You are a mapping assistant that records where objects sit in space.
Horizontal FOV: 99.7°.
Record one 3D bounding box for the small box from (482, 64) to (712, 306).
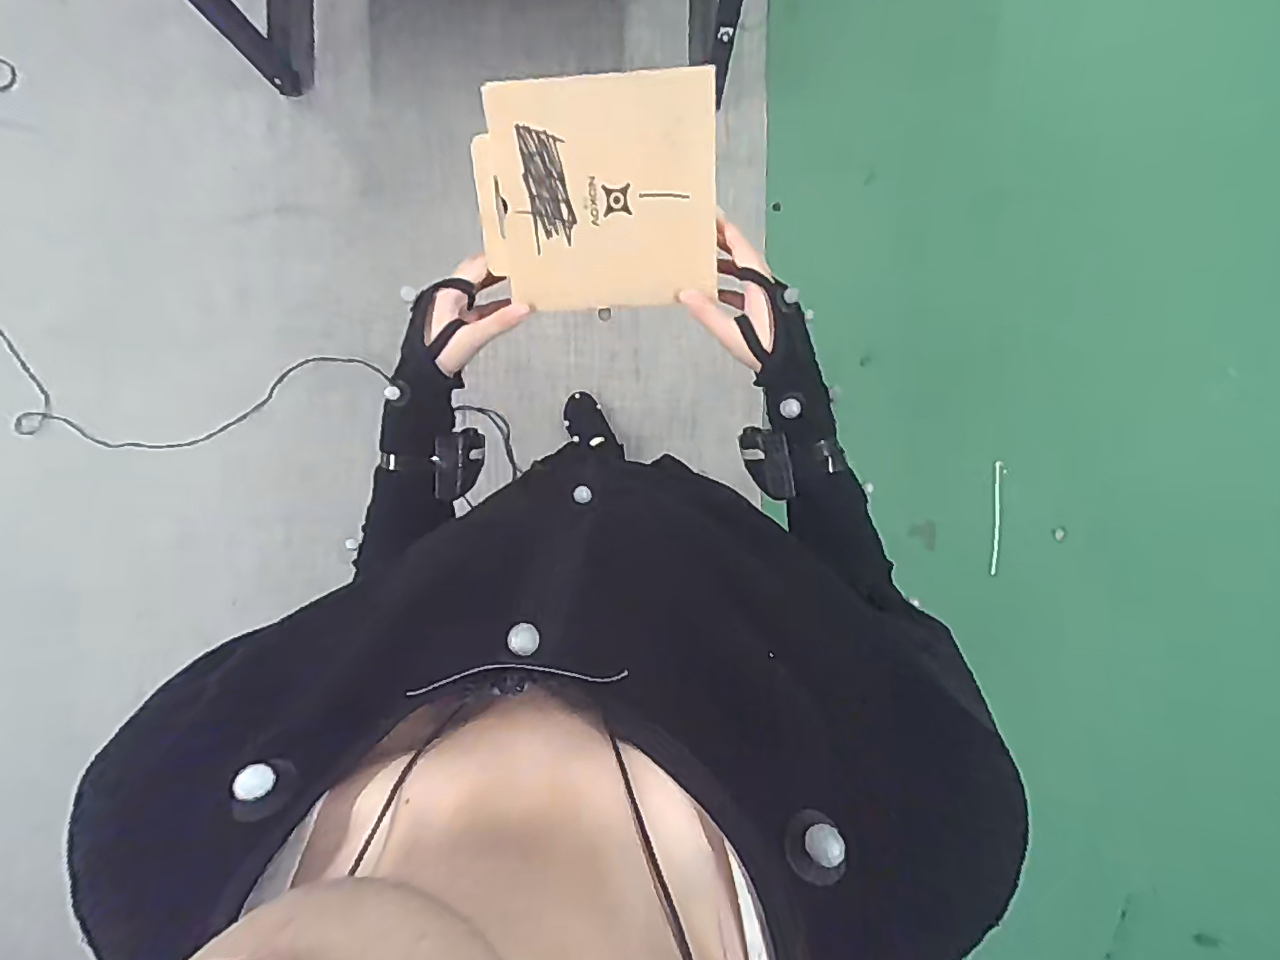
[{"bbox_3d":[-0.026,-0.254,0.505,0.179,0.176,0.168,-3,111,3],"label":"small box"}]
